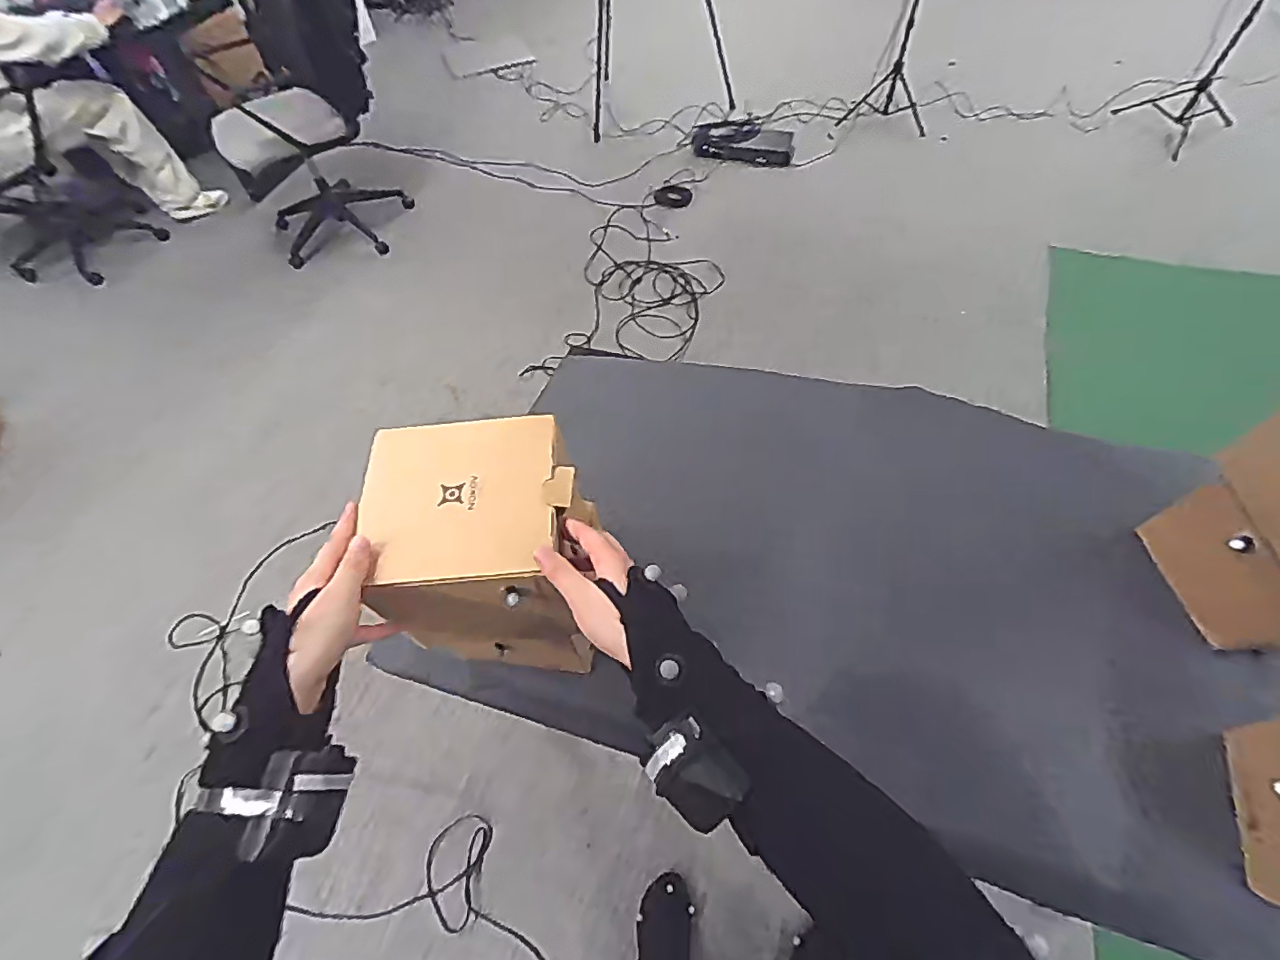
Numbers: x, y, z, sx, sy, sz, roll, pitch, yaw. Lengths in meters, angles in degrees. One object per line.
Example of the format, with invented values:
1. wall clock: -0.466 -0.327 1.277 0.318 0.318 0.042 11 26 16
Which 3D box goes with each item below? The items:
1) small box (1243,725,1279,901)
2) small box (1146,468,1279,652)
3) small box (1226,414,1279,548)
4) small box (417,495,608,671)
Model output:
1. small box: 0.709 0.324 0.485 0.179 0.176 0.168 18 56 17
2. small box: 0.773 0.089 0.640 0.168 0.176 0.179 -6 57 4
3. small box: 0.738 -0.005 0.508 0.168 0.176 0.179 -4 57 7
4. small box: -0.143 0.137 0.689 0.179 0.176 0.168 4 58 8
